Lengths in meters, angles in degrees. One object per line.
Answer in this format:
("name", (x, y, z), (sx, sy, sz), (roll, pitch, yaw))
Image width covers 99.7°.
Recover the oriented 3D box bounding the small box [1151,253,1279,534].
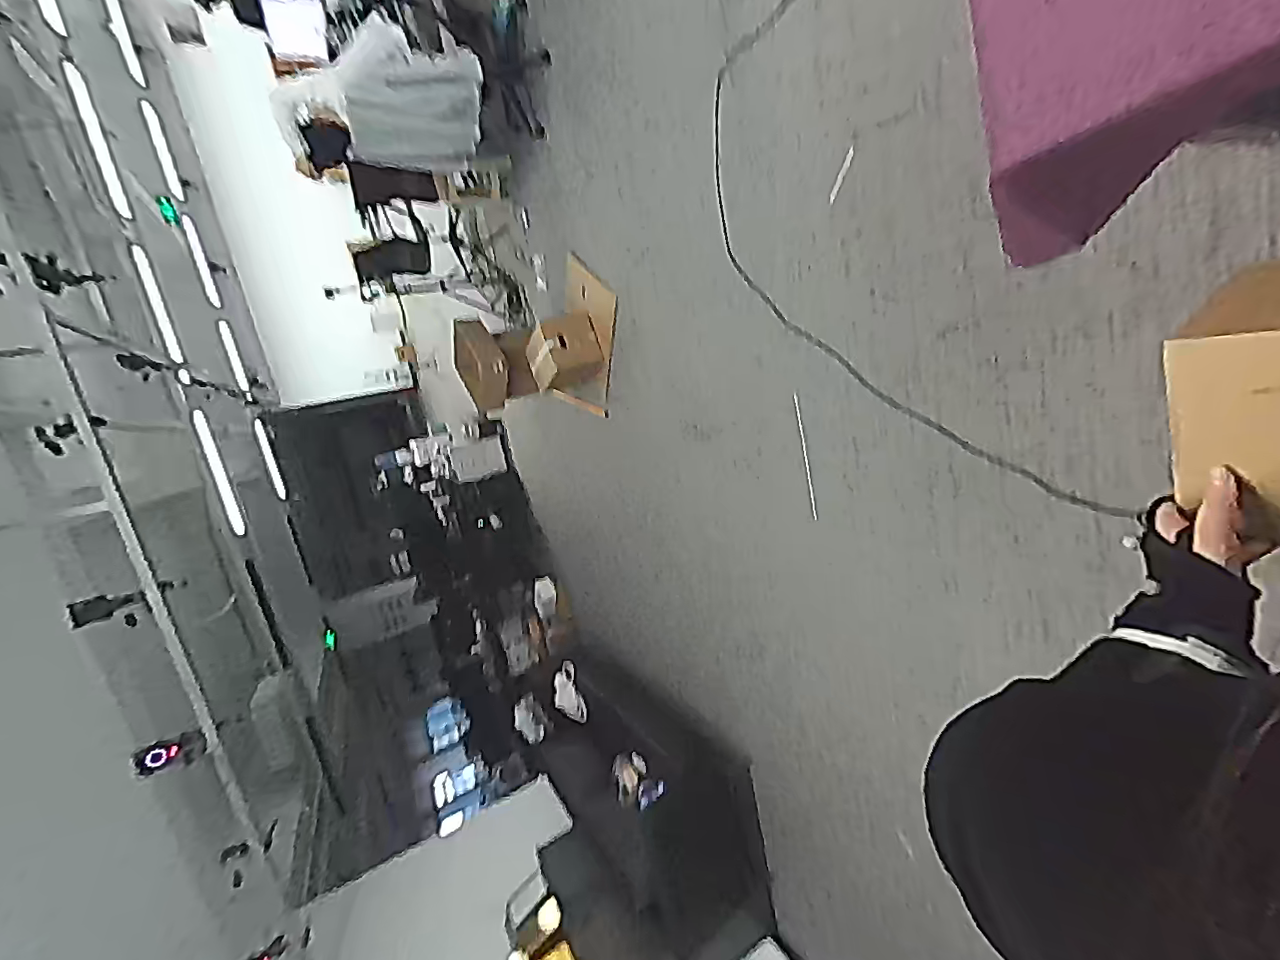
("small box", (0.536, -0.069, 0.415), (0.168, 0.176, 0.179), (13, 131, 58))
